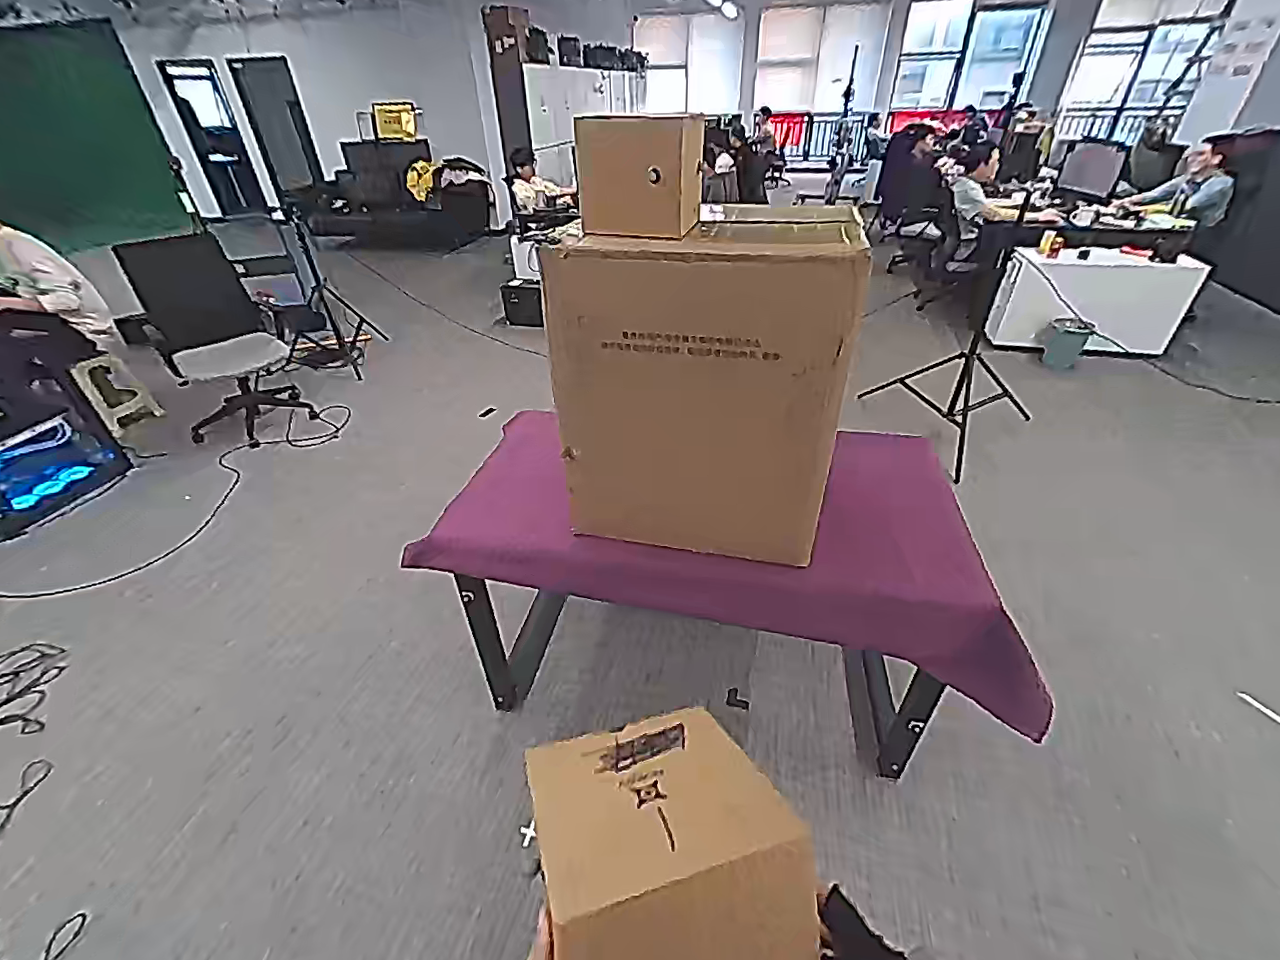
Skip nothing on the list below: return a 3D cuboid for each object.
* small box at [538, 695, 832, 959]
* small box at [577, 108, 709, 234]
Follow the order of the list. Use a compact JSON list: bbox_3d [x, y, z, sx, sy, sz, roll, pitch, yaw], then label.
[{"bbox_3d":[0.020,0.290,0.398,0.168,0.176,0.179,-7,6,-16],"label":"small box"},{"bbox_3d":[0.011,-0.517,0.906,0.179,0.176,0.168,8,36,14],"label":"small box"}]
